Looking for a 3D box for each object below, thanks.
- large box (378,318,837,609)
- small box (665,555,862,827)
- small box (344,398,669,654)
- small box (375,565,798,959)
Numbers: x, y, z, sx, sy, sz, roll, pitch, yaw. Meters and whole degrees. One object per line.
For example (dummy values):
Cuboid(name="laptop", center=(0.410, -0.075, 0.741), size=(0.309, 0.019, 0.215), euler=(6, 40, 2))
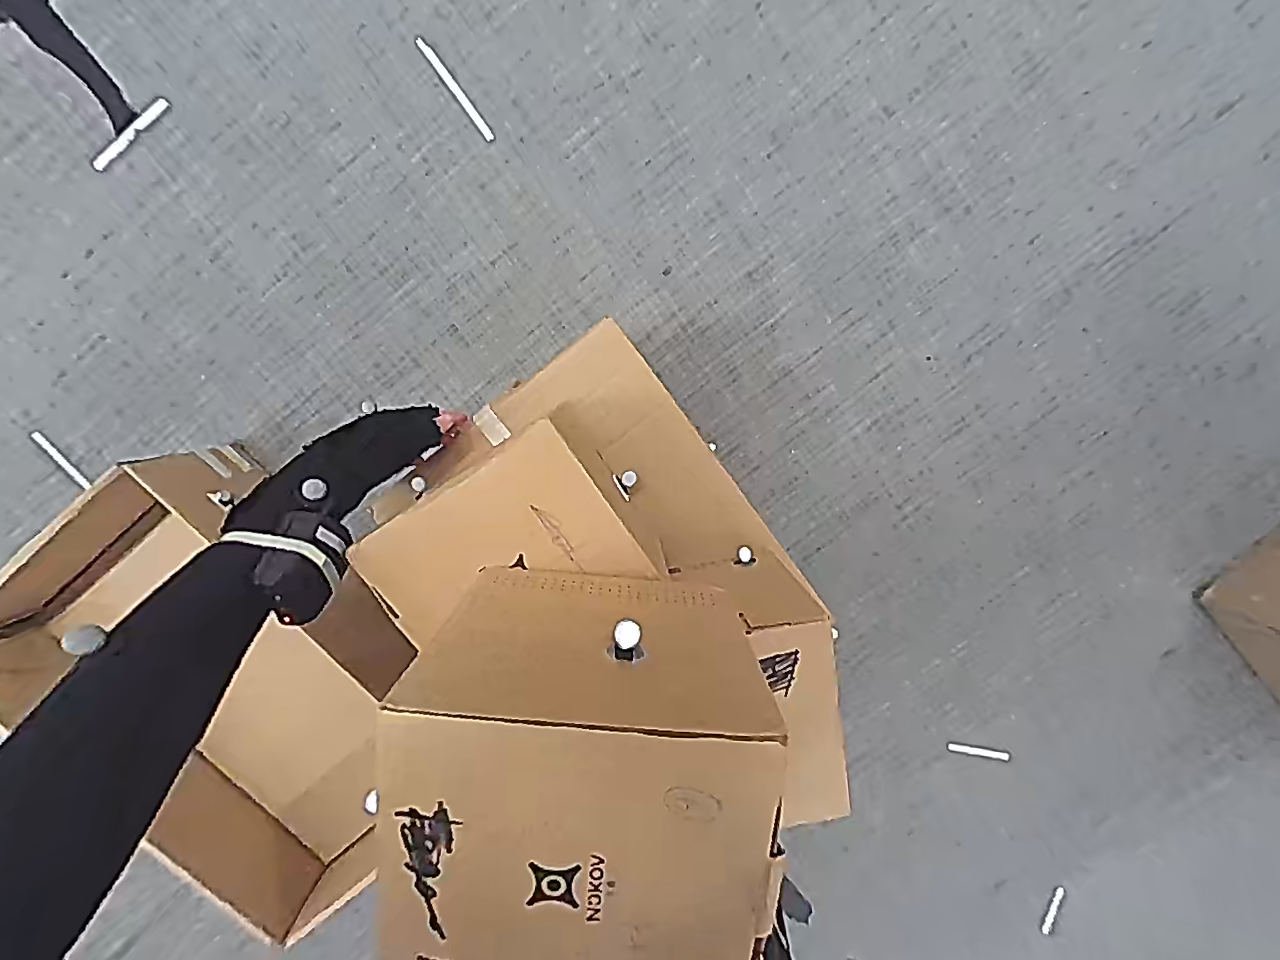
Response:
Cuboid(name="large box", center=(-0.034, 0.054, 0.710), size=(0.320, 0.320, 0.408), euler=(-38, 101, 6))
Cuboid(name="small box", center=(0.075, 0.177, 0.486), size=(0.168, 0.176, 0.179), euler=(-11, 100, -1))
Cuboid(name="small box", center=(-0.094, 0.046, 0.458), size=(0.179, 0.176, 0.168), euler=(-35, 102, 3))
Cuboid(name="small box", center=(-0.029, 0.157, 0.314), size=(0.179, 0.176, 0.168), euler=(5, 101, -2))
